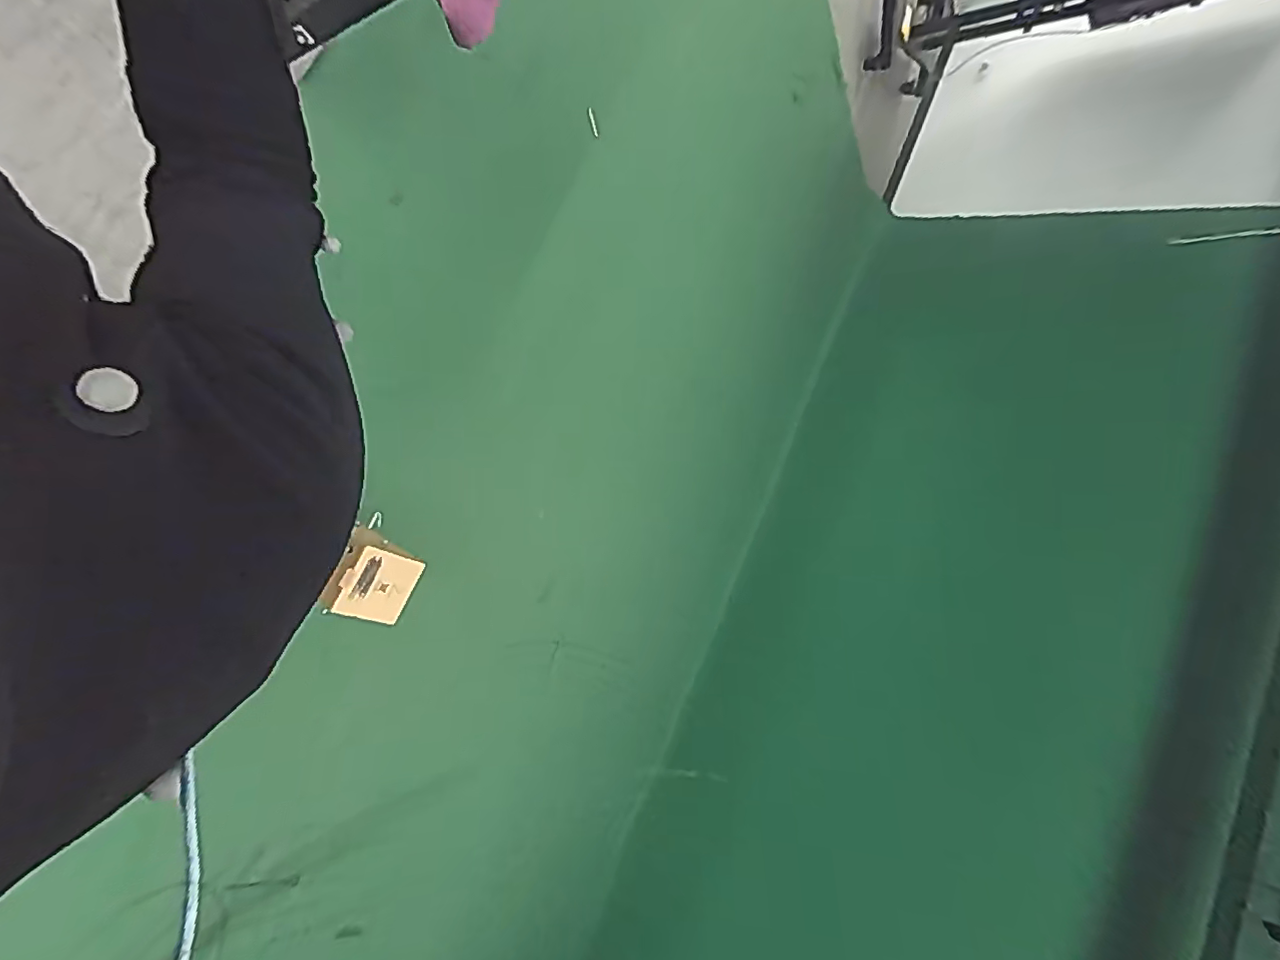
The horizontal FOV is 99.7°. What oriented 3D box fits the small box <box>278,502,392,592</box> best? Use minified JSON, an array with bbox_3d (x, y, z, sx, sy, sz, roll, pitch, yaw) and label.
[{"bbox_3d":[-0.809,0.173,1.429,0.179,0.176,0.168,40,73,-53],"label":"small box"}]
